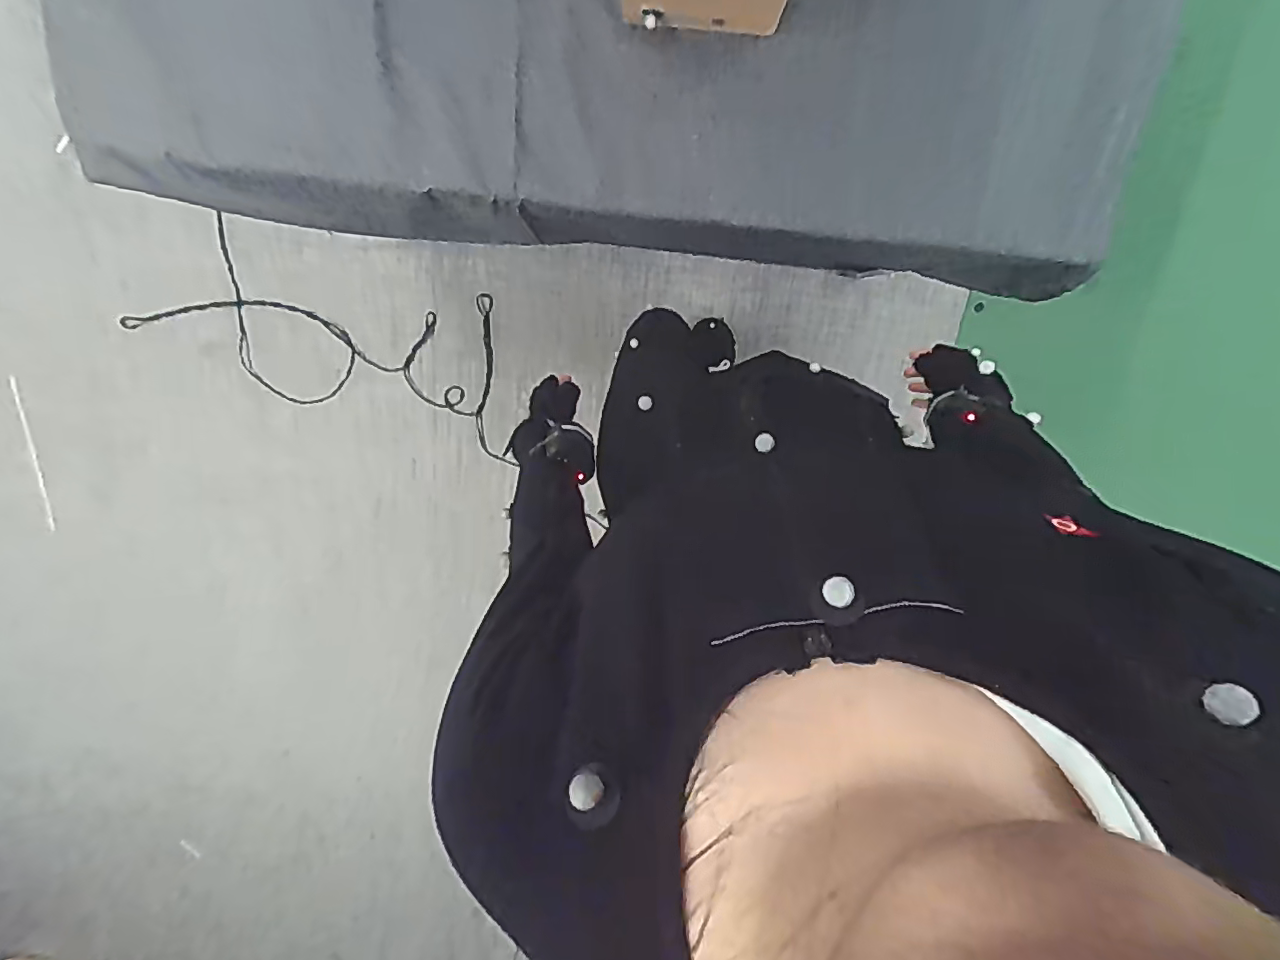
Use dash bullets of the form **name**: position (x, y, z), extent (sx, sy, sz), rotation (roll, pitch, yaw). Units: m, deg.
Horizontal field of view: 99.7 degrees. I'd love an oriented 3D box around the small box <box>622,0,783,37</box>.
- **small box**: position (0.065, -0.541, 0.485), extent (0.168, 0.176, 0.179), rotation (6, 107, 1)
